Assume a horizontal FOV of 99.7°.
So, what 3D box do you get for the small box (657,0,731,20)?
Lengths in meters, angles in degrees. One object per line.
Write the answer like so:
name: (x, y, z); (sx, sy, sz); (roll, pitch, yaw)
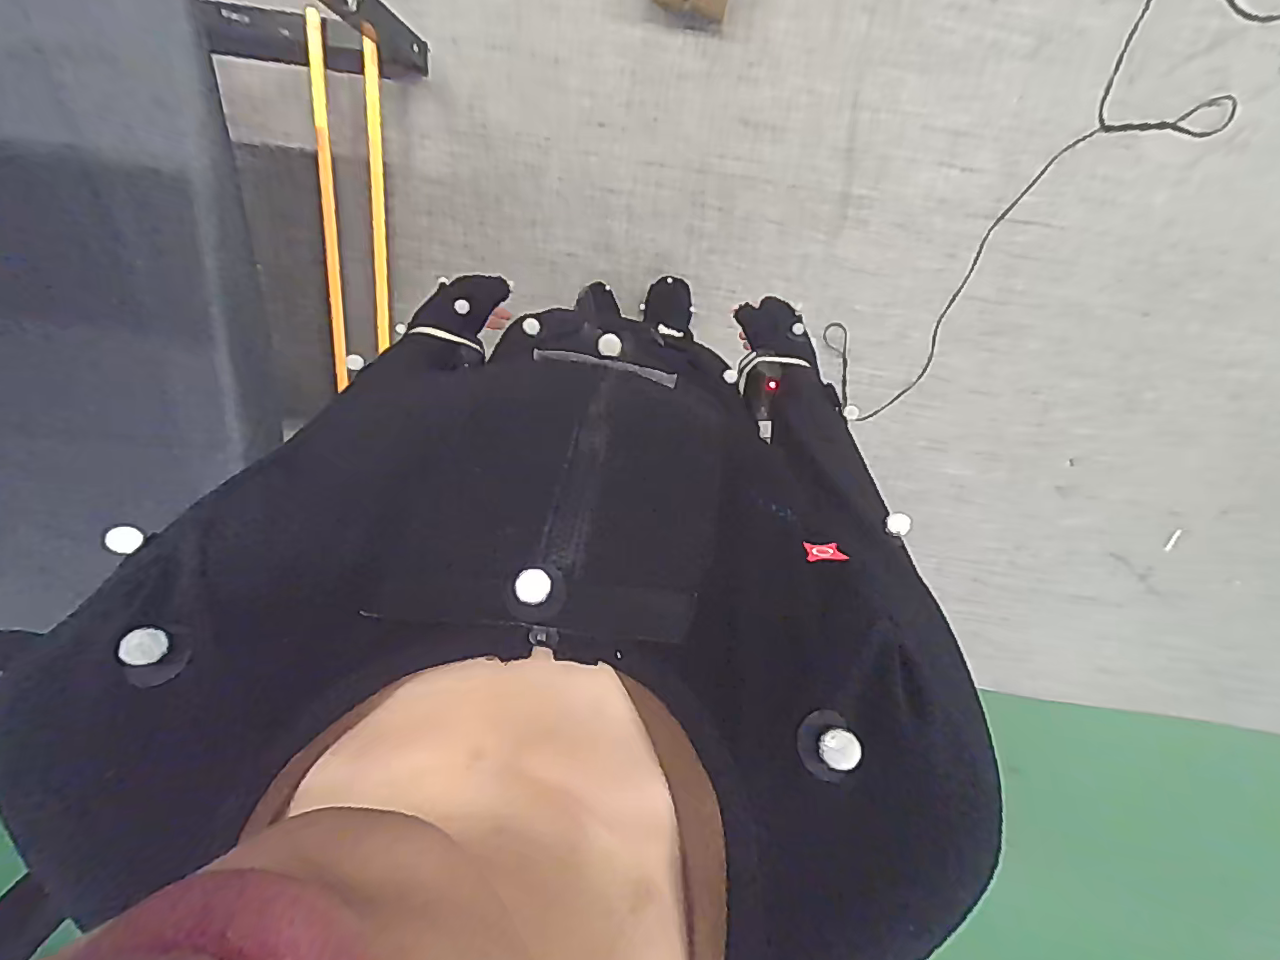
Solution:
small box: (0.119, -1.038, 1.036); (0.168, 0.176, 0.179); (14, 112, -2)
